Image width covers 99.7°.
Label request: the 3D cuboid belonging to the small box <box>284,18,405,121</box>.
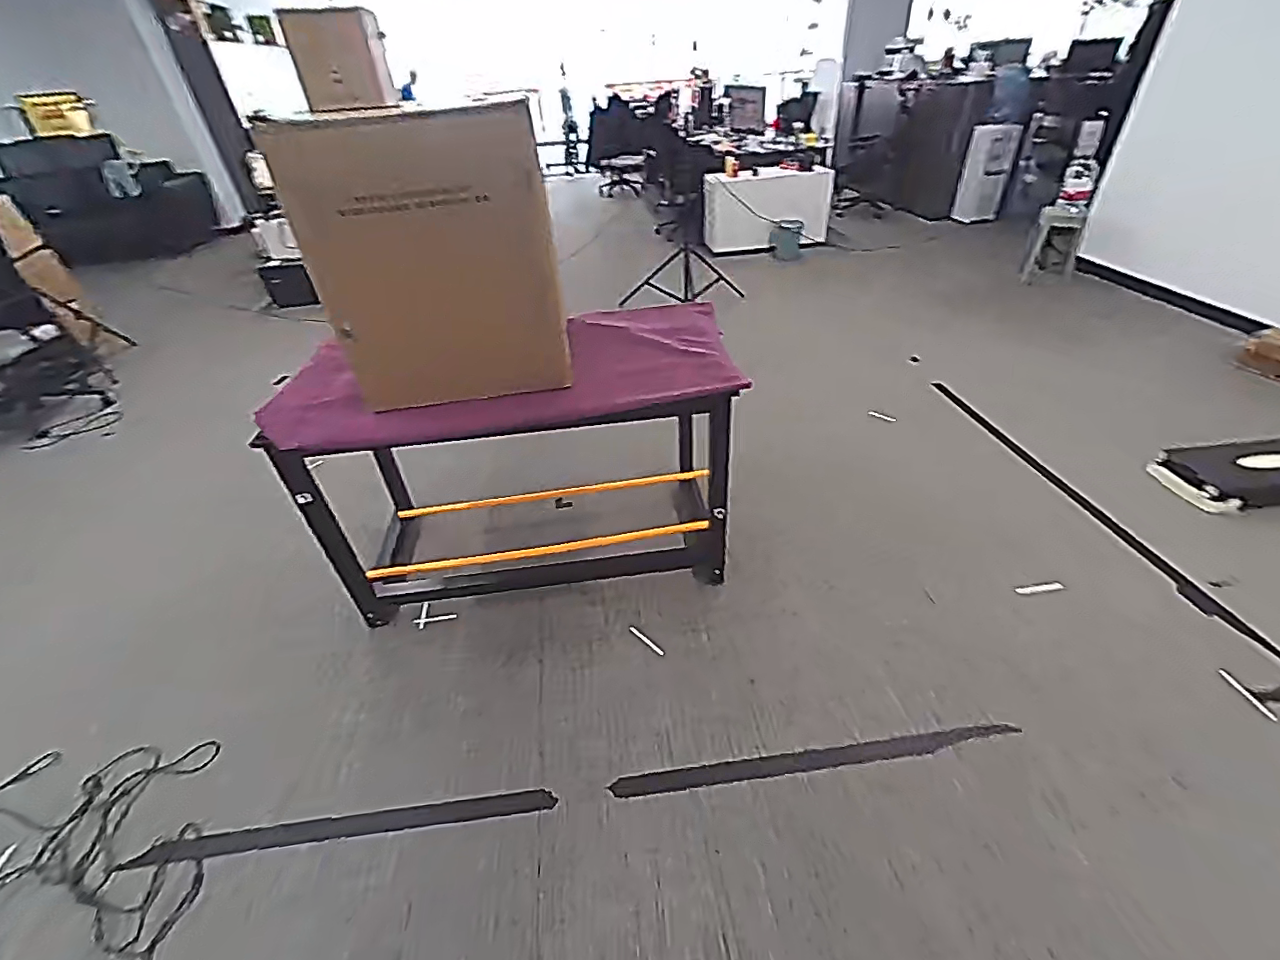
[{"bbox_3d":[-0.636,-0.897,1.191,0.168,0.176,0.179,-8,38,-5],"label":"small box"}]
